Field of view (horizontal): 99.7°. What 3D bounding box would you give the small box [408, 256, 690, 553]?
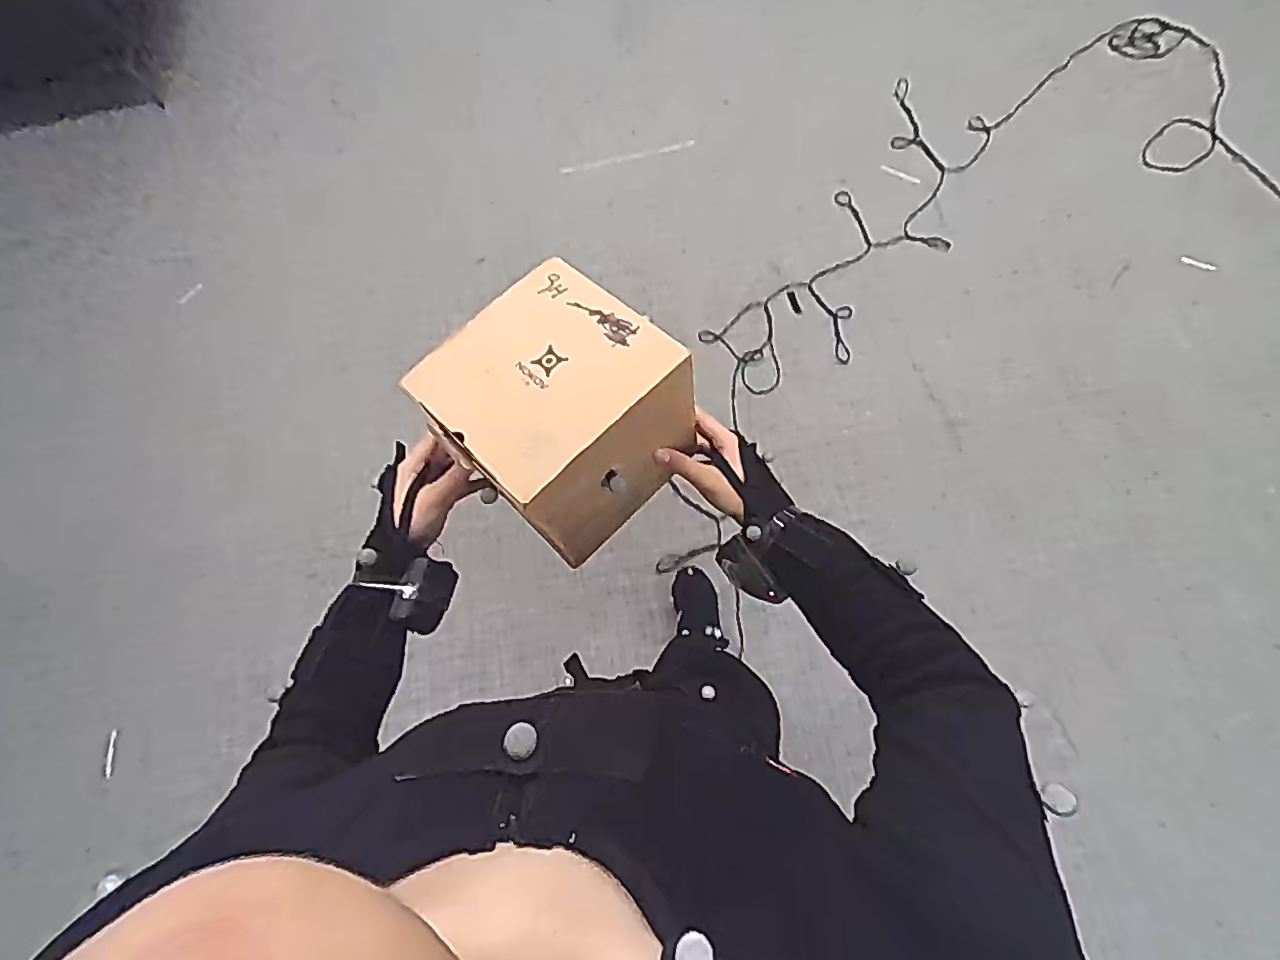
[{"bbox_3d":[-0.066,-0.059,0.503,0.168,0.176,0.179,41,77,22],"label":"small box"}]
